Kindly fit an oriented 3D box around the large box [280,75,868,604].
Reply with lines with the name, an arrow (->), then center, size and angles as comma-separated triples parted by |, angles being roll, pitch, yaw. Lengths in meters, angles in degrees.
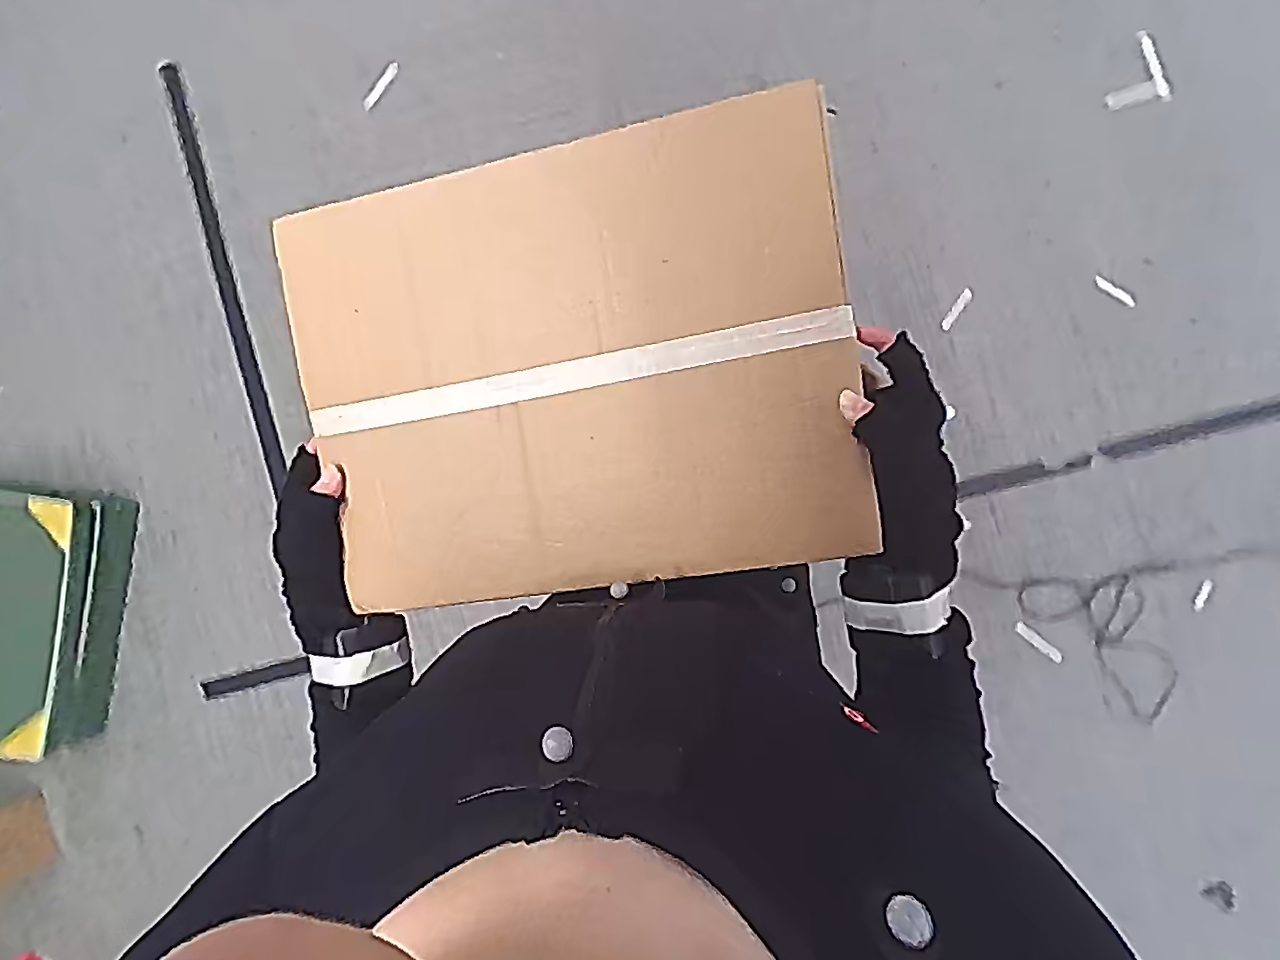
large box -> -0.036, -0.099, 0.544 | 0.408, 0.320, 0.320 | -10, 94, 10
